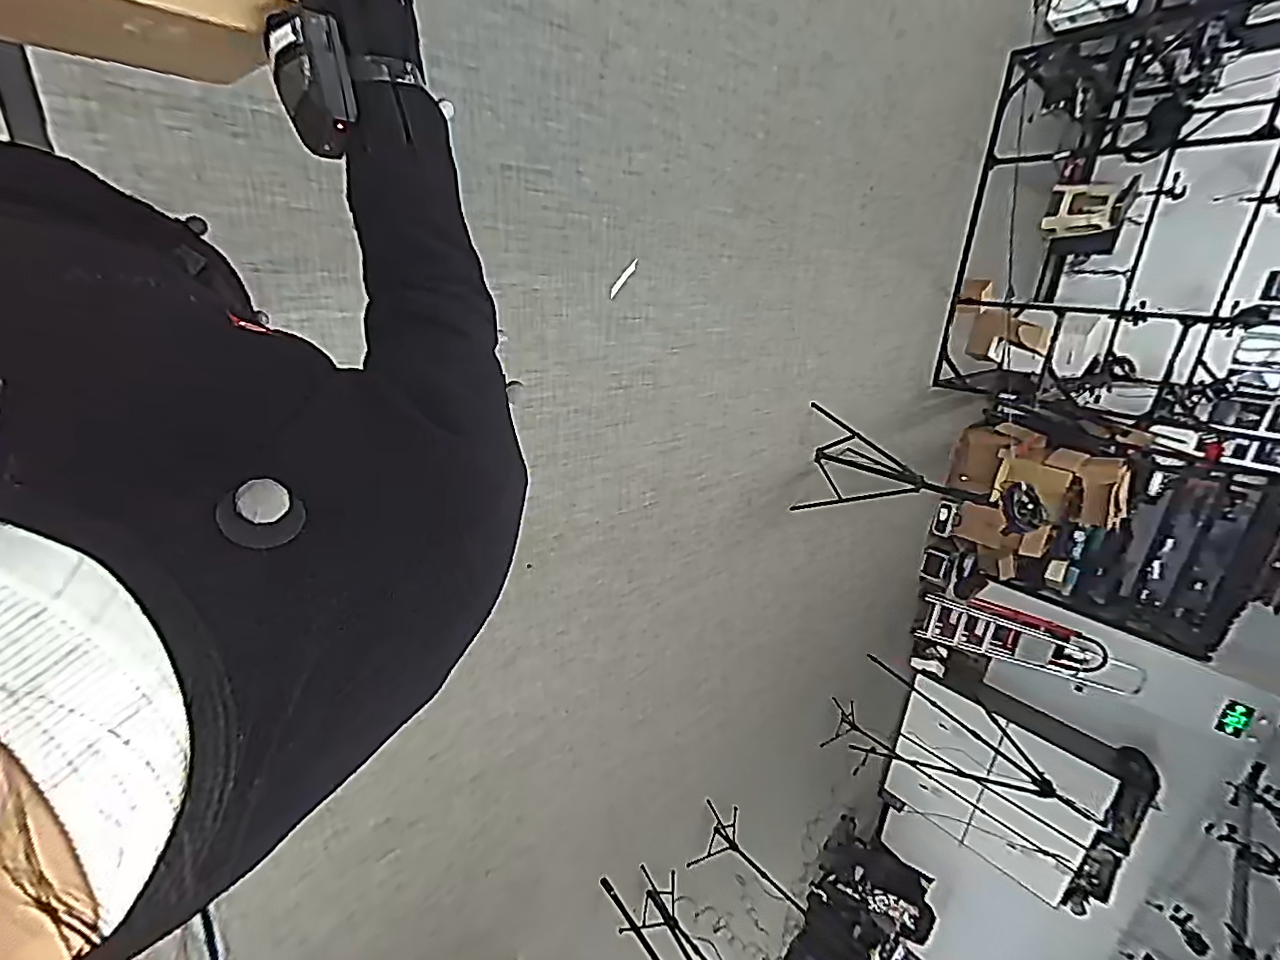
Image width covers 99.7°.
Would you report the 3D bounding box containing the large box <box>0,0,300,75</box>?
[{"bbox_3d":[-0.452,-0.440,0.260,0.408,0.320,0.320,-16,125,-39],"label":"large box"}]
